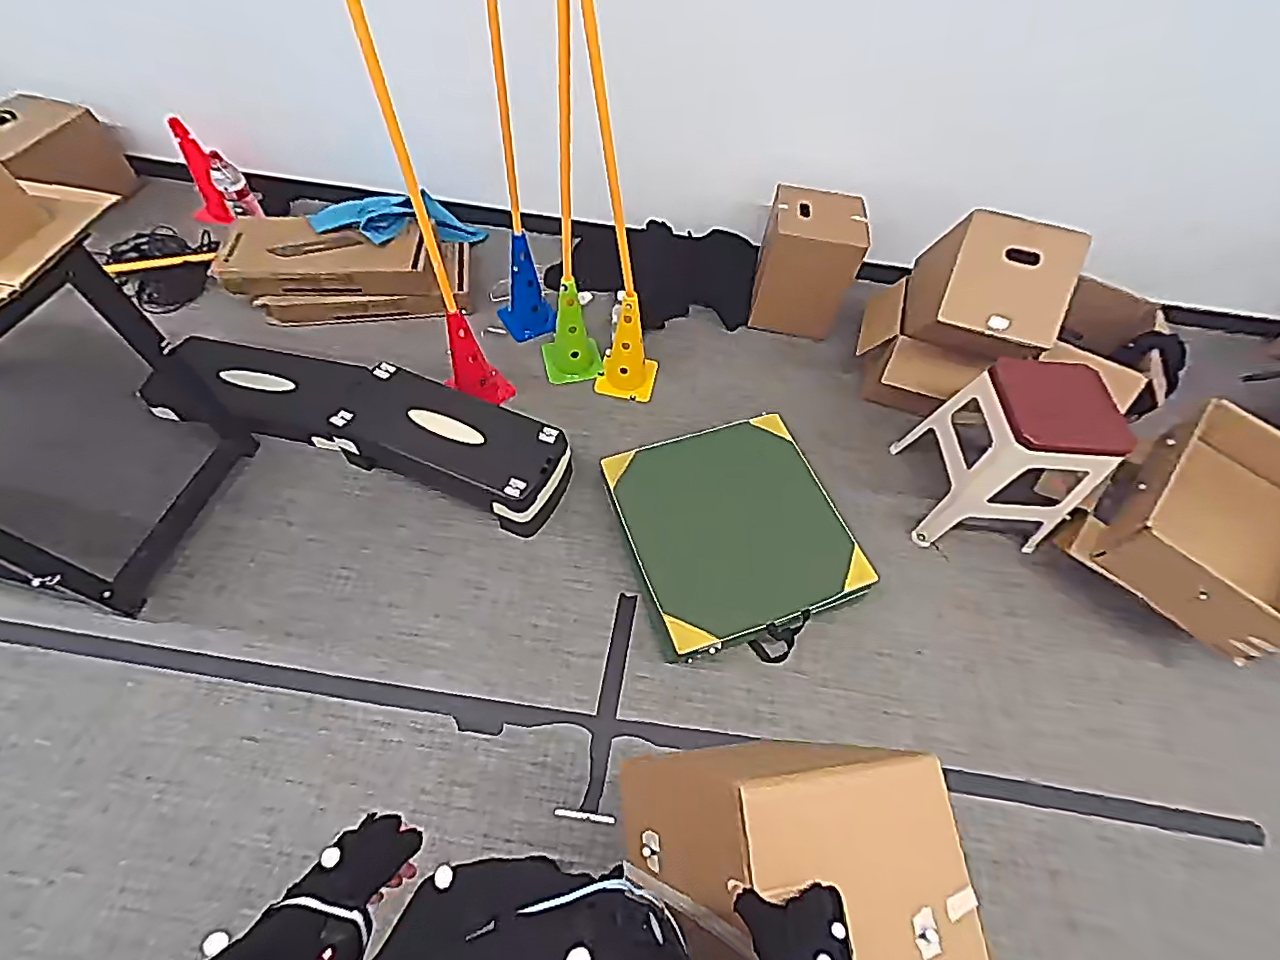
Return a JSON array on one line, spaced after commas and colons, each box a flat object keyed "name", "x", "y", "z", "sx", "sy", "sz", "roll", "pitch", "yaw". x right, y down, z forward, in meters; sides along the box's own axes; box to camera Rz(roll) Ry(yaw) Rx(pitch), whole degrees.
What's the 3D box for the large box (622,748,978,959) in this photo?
[{"name": "large box", "x": 0.193, "y": 0.583, "z": 0.785, "sx": 0.320, "sy": 0.408, "sz": 0.320, "roll": 4, "pitch": 66, "yaw": -21}]
